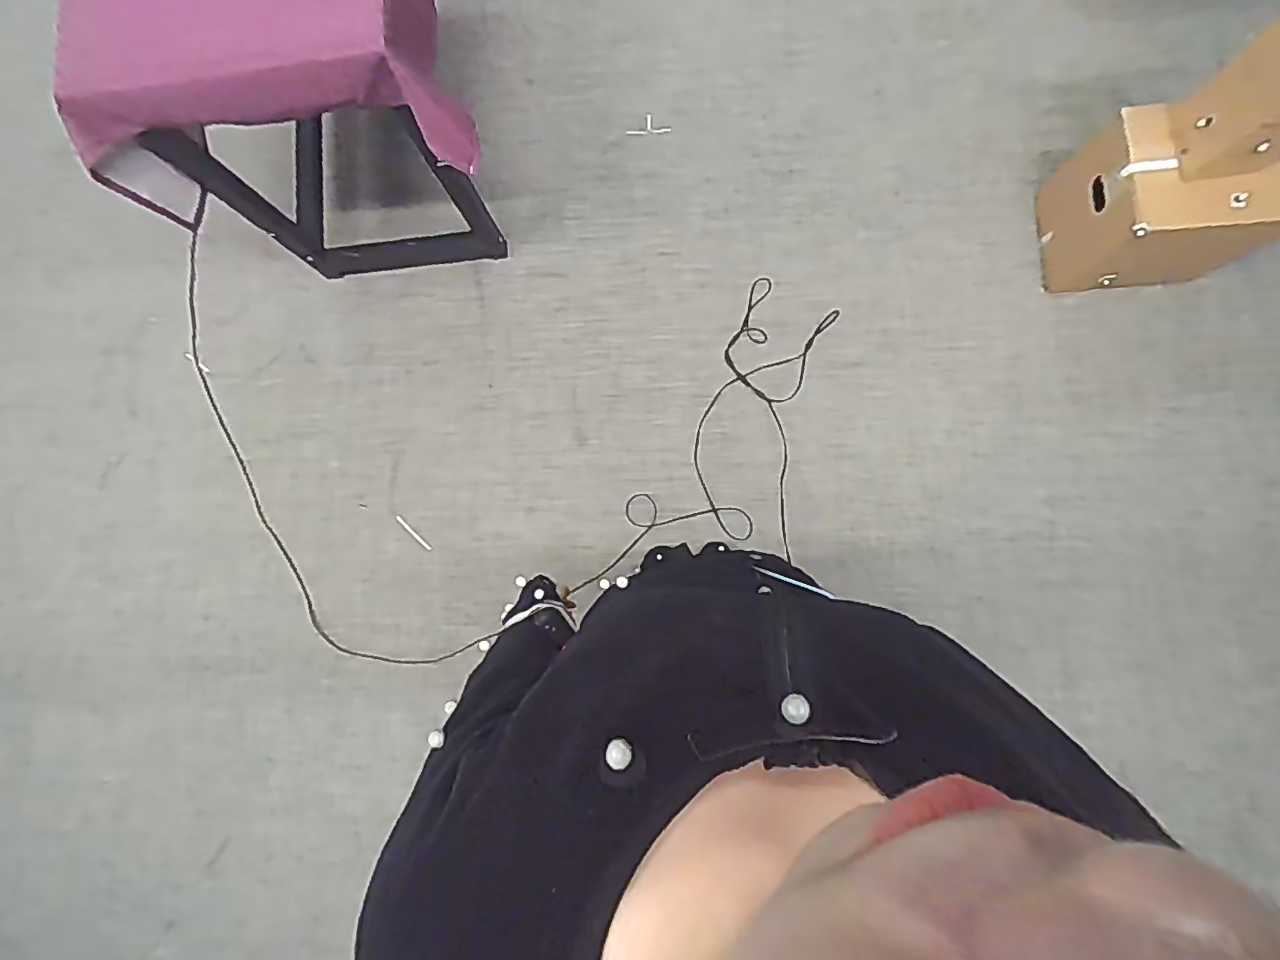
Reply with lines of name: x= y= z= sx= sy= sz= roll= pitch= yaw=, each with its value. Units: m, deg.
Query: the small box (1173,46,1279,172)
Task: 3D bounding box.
small box: x=1.290 y=-0.784 z=1.143 sx=0.179 sy=0.176 sz=0.168 roll=-6 pitch=83 yaw=3

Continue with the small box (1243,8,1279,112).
small box: x=1.276 y=-0.804 z=0.979 sx=0.168 sy=0.176 sz=0.179 roll=-6 pitch=82 yaw=2
